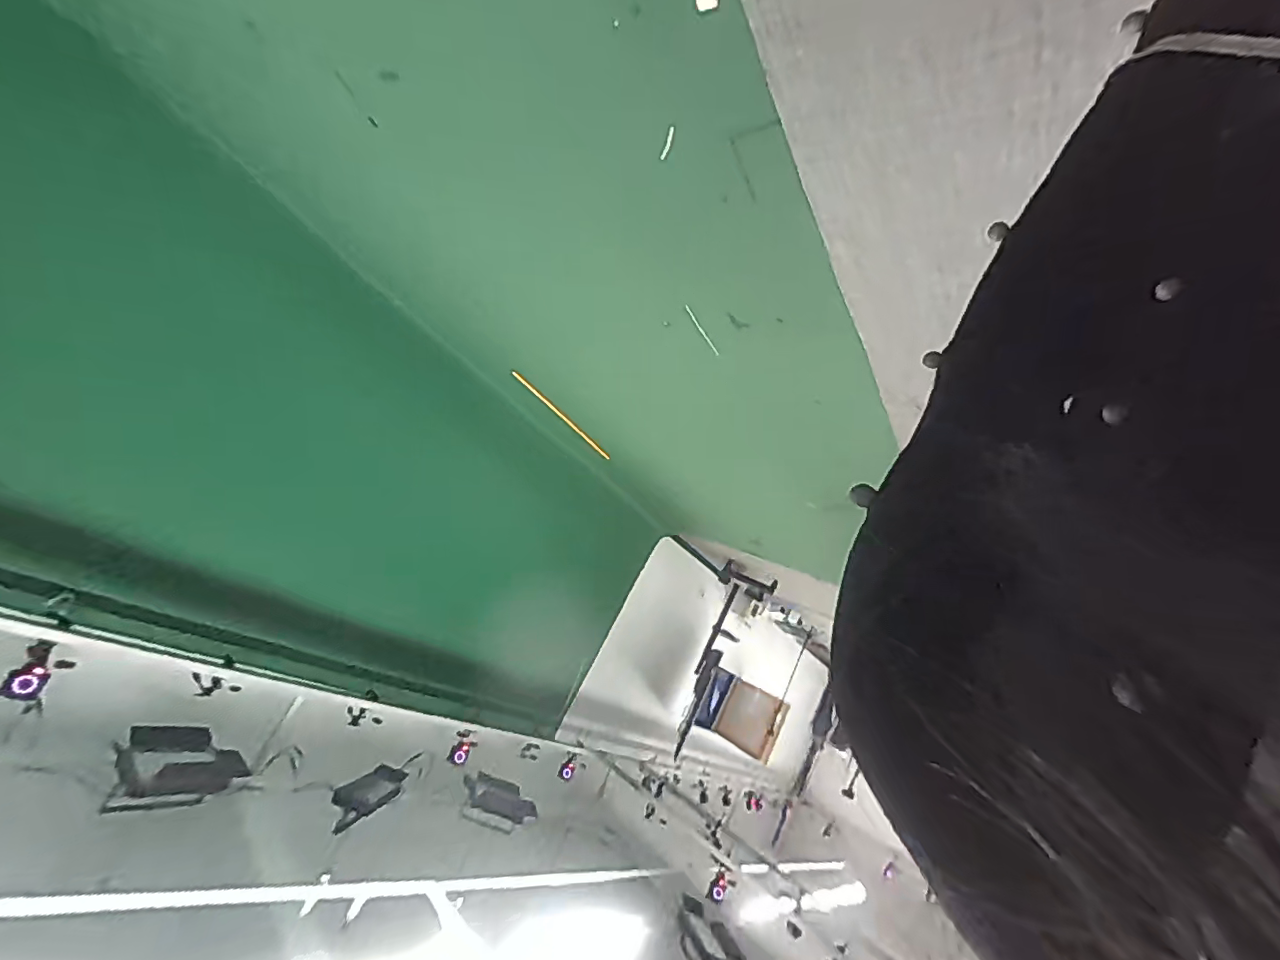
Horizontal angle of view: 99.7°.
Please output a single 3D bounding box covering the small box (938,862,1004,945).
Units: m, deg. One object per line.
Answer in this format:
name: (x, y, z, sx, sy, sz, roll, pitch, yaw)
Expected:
small box: (1.202, 1.529, 1.967, 0.168, 0.176, 0.179, 18, 161, 34)
